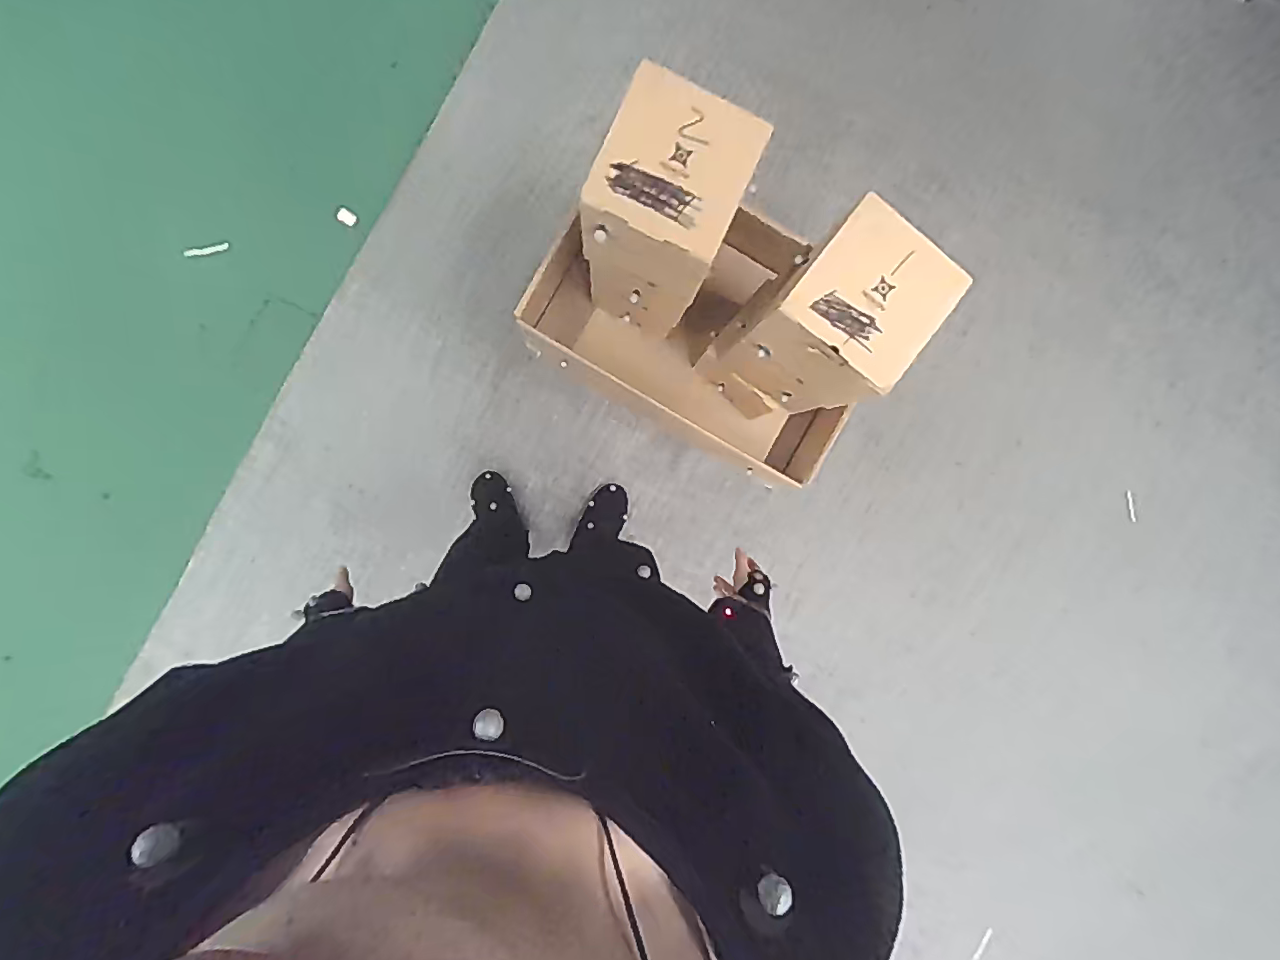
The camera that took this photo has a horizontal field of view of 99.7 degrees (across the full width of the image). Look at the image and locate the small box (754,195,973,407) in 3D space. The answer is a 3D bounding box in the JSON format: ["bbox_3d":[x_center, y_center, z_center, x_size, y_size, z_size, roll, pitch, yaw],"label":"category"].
[{"bbox_3d":[0.269,-0.213,0.702,0.168,0.176,0.179,39,89,-4],"label":"small box"}]

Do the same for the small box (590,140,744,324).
[{"bbox_3d":[0.036,-0.370,0.846,0.168,0.176,0.179,27,91,-4],"label":"small box"}]

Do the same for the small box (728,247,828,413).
[{"bbox_3d":[0.258,-0.224,0.865,0.168,0.176,0.179,36,90,-4],"label":"small box"}]

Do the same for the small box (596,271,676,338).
[{"bbox_3d":[0.027,-0.393,1.009,0.168,0.176,0.179,27,91,-3],"label":"small box"}]
